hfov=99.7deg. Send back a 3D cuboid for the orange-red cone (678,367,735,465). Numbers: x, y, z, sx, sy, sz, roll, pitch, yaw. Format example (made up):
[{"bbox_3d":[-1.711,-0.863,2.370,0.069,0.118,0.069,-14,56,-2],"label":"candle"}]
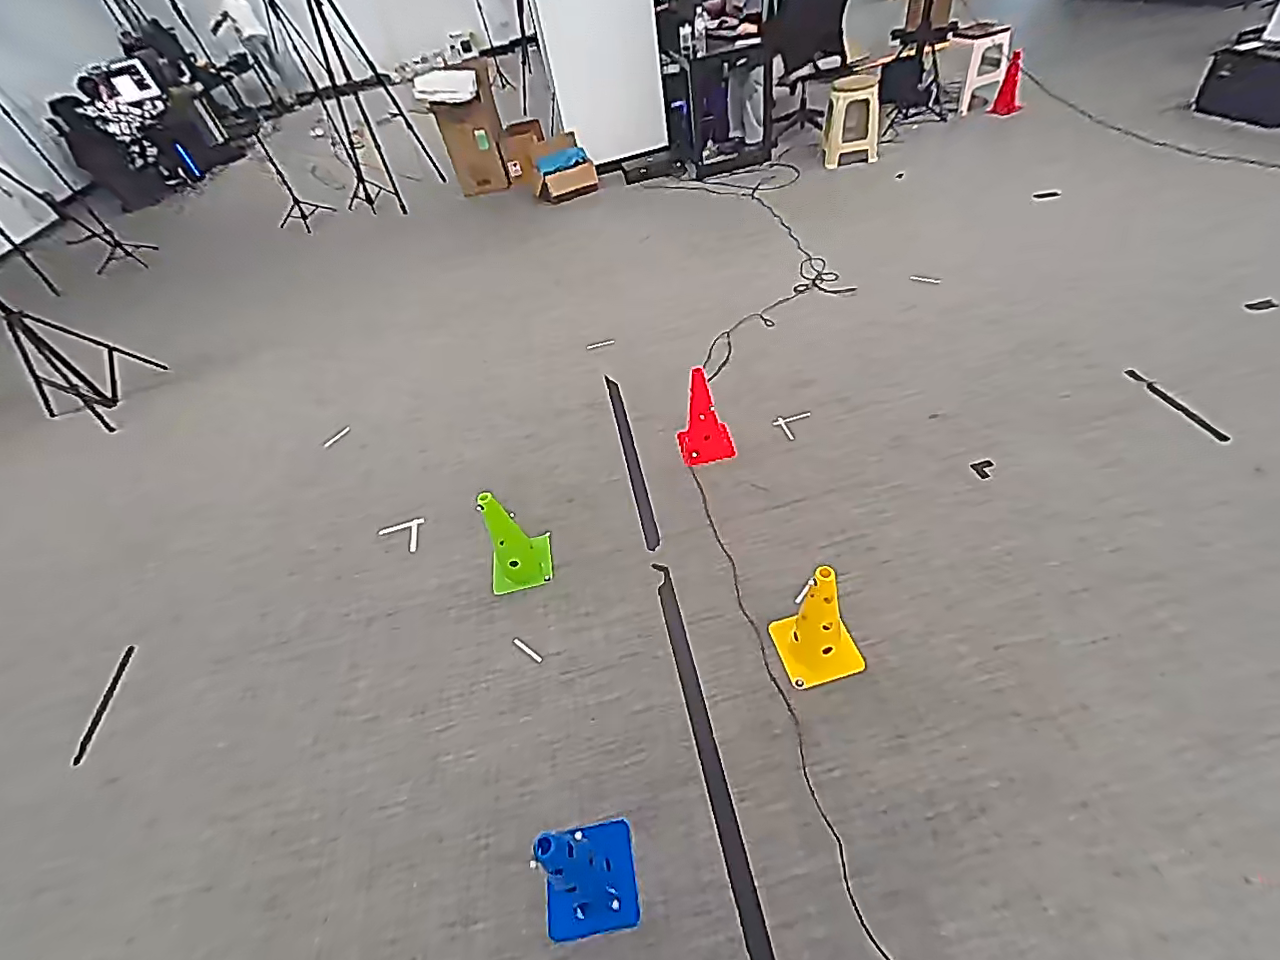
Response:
[{"bbox_3d":[0.226,-0.253,1.957,0.199,0.360,0.198,-10,47,2],"label":"orange-red cone"}]

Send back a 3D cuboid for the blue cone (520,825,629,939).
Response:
[{"bbox_3d":[-0.151,0.773,1.083,0.192,0.380,0.193,-12,45,3],"label":"blue cone"}]

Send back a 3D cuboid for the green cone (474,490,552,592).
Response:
[{"bbox_3d":[-0.430,0.160,1.710,0.202,0.368,0.200,-15,46,0],"label":"green cone"}]
